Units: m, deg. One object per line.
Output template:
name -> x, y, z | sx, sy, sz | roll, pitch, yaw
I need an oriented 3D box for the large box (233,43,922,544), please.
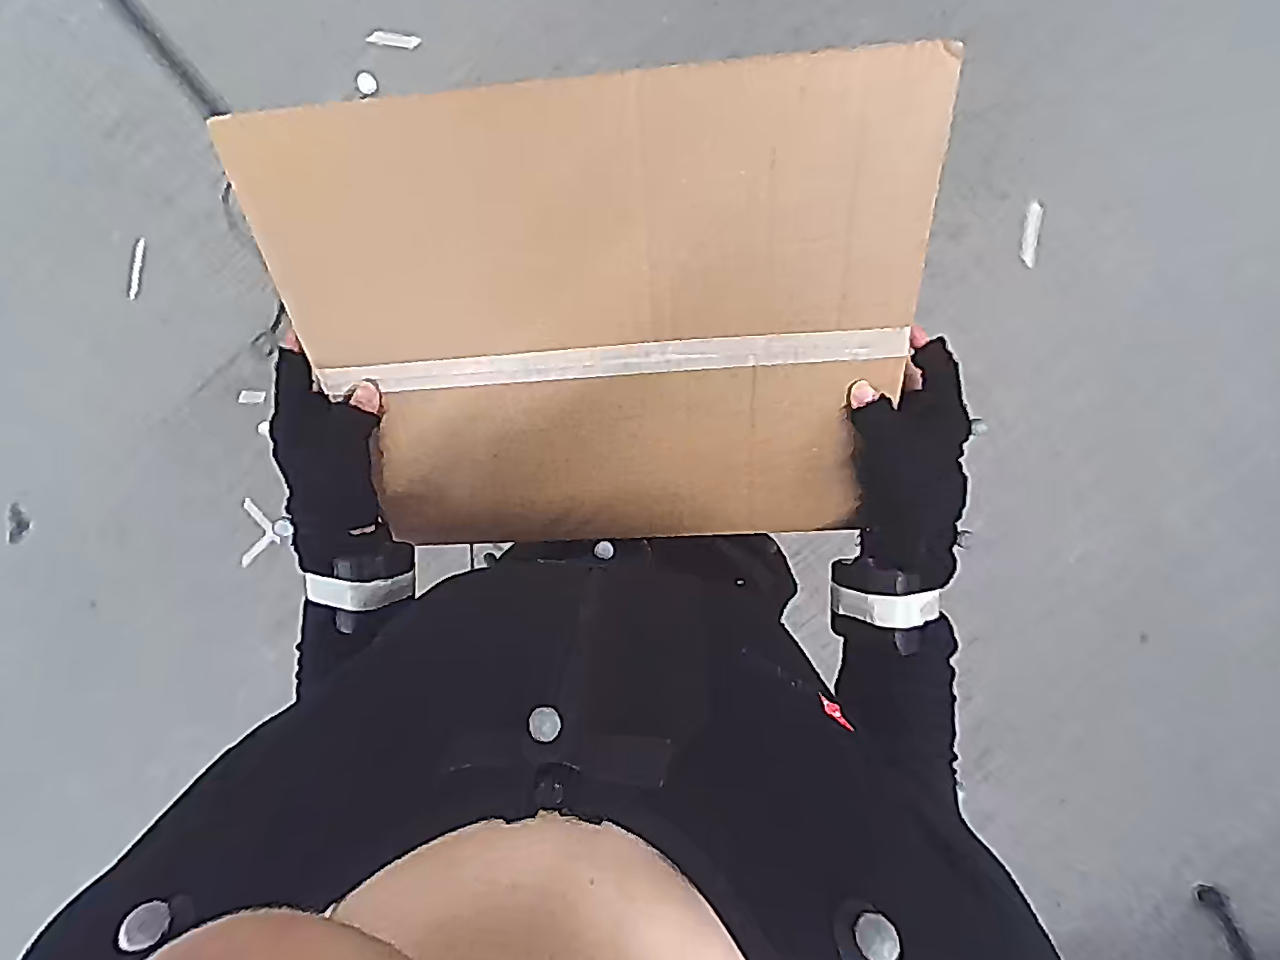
large box -> -0.027, -0.167, 0.505 | 0.408, 0.320, 0.320 | -4, 124, 5
